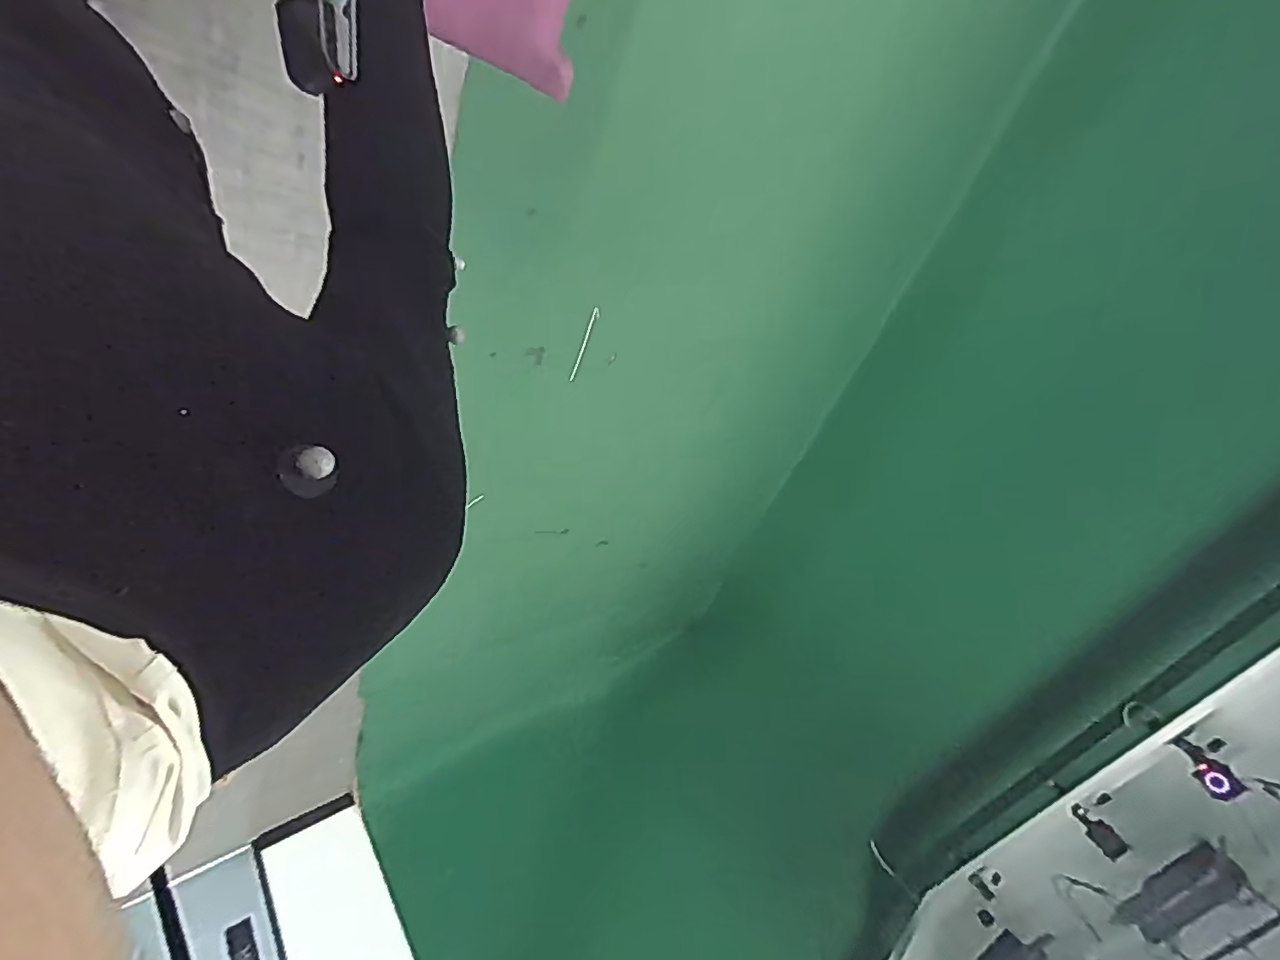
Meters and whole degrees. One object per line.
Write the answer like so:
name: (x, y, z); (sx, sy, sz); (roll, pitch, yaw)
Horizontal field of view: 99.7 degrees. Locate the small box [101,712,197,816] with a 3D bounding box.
small box: (-1.395, 0.795, 1.534); (0.179, 0.176, 0.168); (-2, 128, -50)
